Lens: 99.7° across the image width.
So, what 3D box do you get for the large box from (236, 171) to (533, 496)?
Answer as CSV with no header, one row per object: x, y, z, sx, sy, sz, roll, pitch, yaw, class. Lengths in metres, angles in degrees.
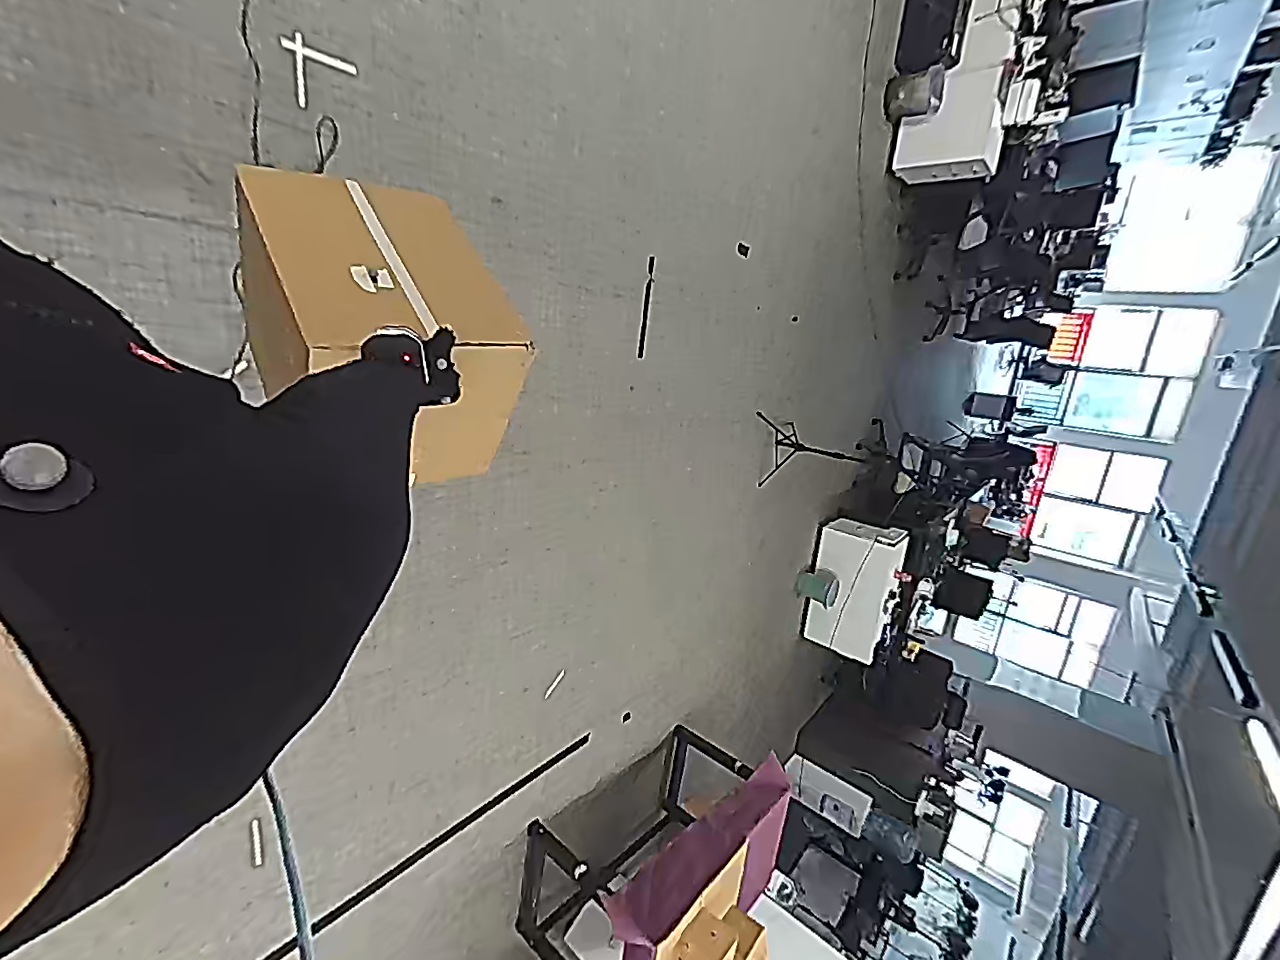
-0.449,-0.240,0.922,0.320,0.408,0.320,-14,152,-40,large box
